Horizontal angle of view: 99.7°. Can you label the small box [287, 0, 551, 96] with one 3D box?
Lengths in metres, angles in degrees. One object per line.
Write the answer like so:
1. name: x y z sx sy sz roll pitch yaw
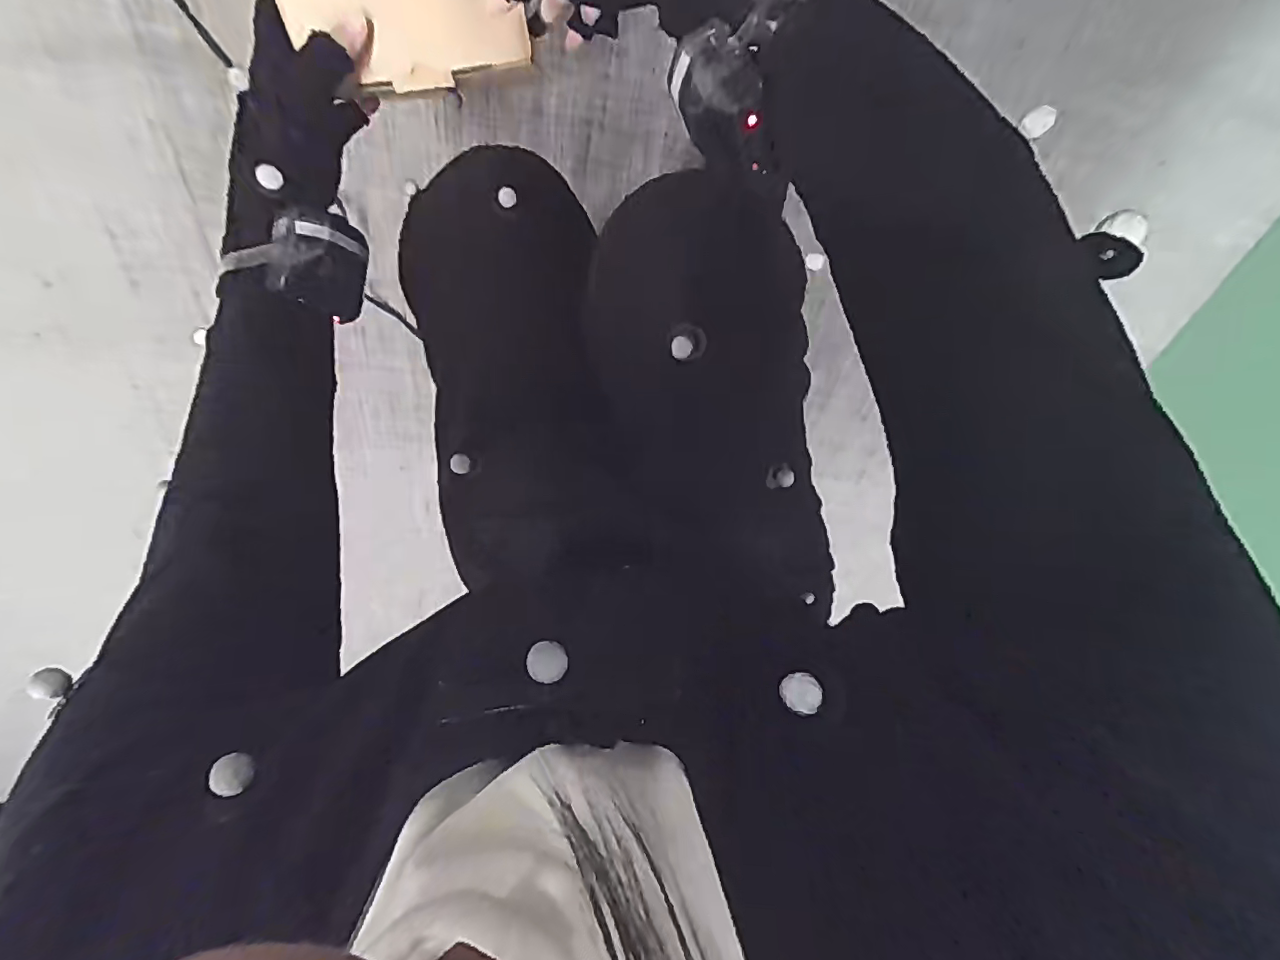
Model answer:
1. small box: -0.168 -0.411 0.417 0.168 0.176 0.179 -6 125 1
